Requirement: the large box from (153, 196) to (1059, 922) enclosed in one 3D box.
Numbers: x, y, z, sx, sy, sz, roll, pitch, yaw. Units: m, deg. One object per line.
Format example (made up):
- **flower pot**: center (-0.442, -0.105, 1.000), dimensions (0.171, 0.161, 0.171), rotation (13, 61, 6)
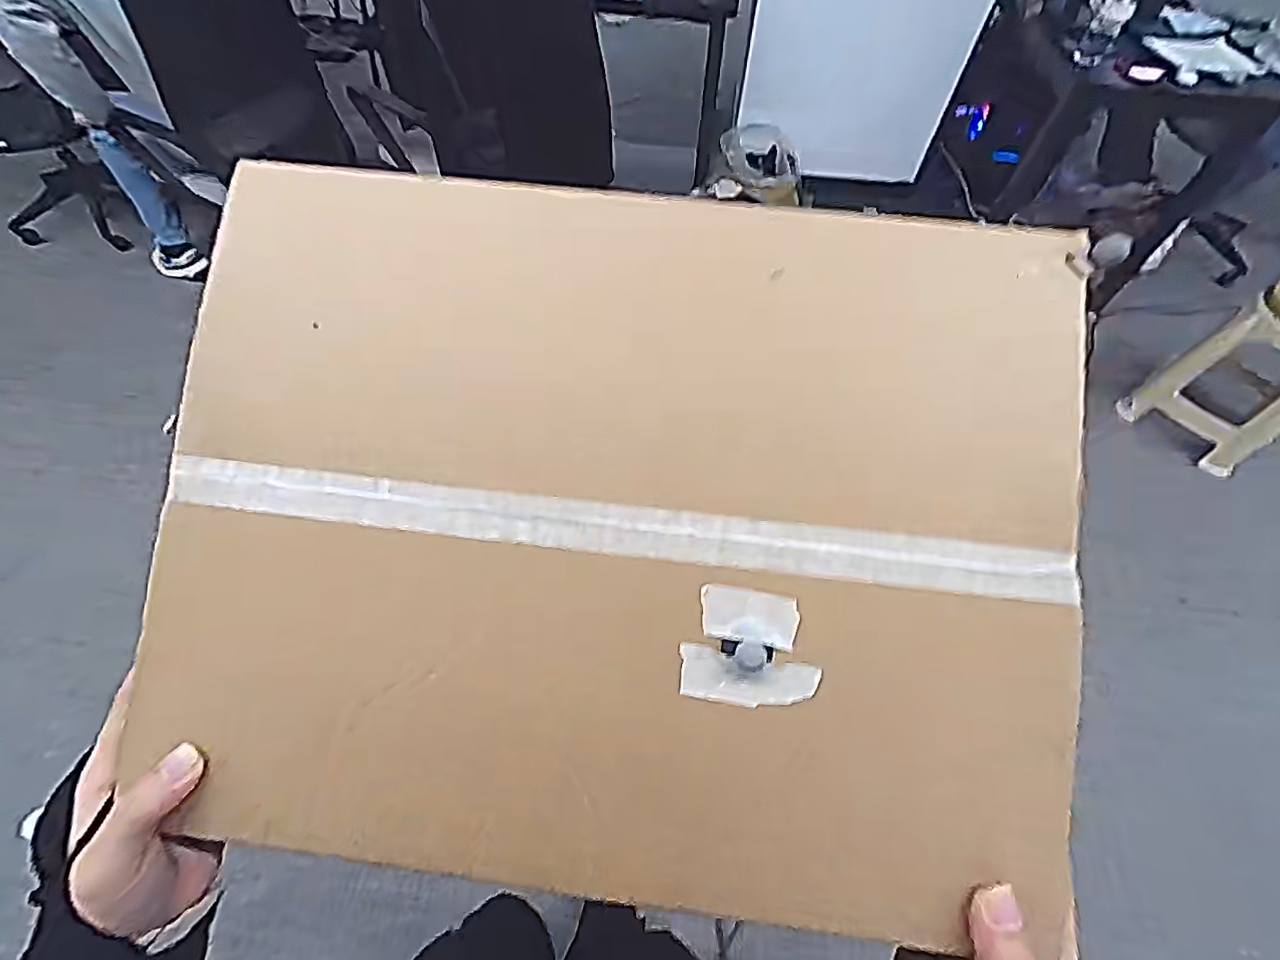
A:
- **large box**: center (-0.008, 0.039, 0.402), dimensions (0.408, 0.320, 0.320), rotation (6, 85, 2)
